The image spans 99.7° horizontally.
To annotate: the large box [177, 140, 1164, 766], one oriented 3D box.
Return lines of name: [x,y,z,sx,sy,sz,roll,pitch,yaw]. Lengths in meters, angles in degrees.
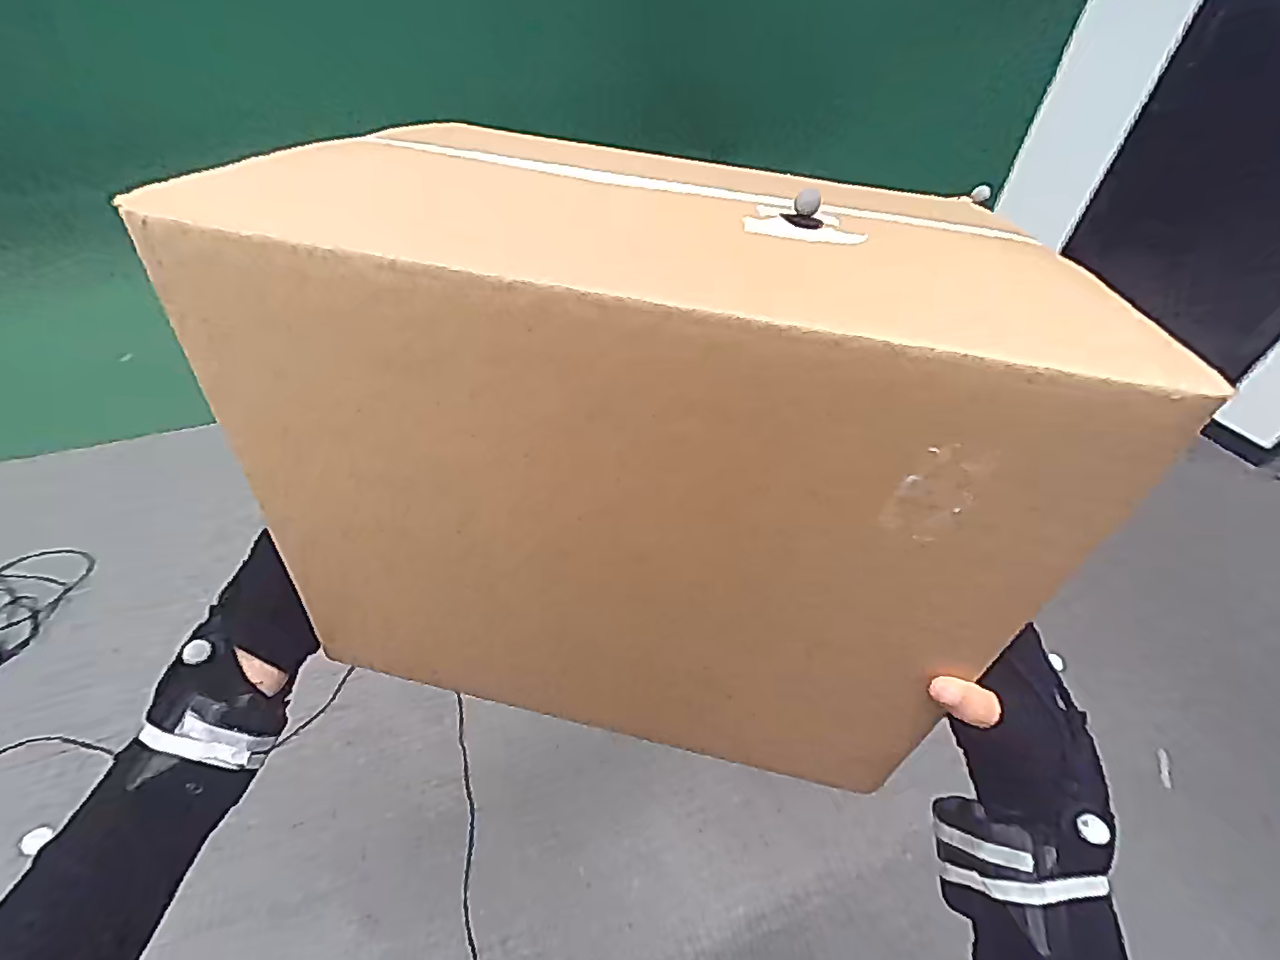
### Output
large box: [0.008,-0.040,0.417,0.408,0.320,0.320,12,40,5]
